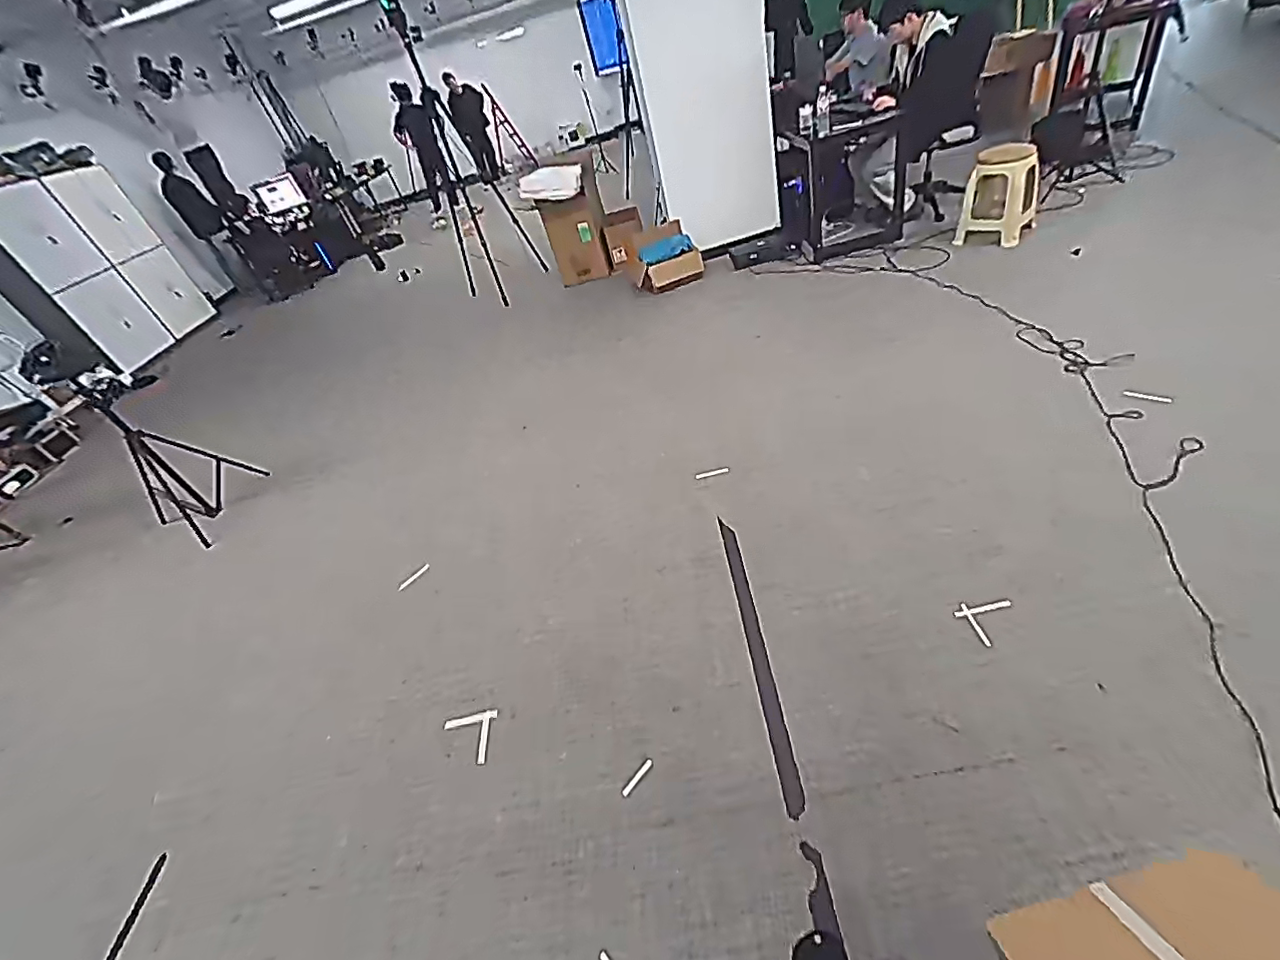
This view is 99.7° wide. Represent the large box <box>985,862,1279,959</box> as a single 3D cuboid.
[{"bbox_3d":[0.637,0.681,0.510,0.320,0.320,0.408,-23,-5,5],"label":"large box"}]
